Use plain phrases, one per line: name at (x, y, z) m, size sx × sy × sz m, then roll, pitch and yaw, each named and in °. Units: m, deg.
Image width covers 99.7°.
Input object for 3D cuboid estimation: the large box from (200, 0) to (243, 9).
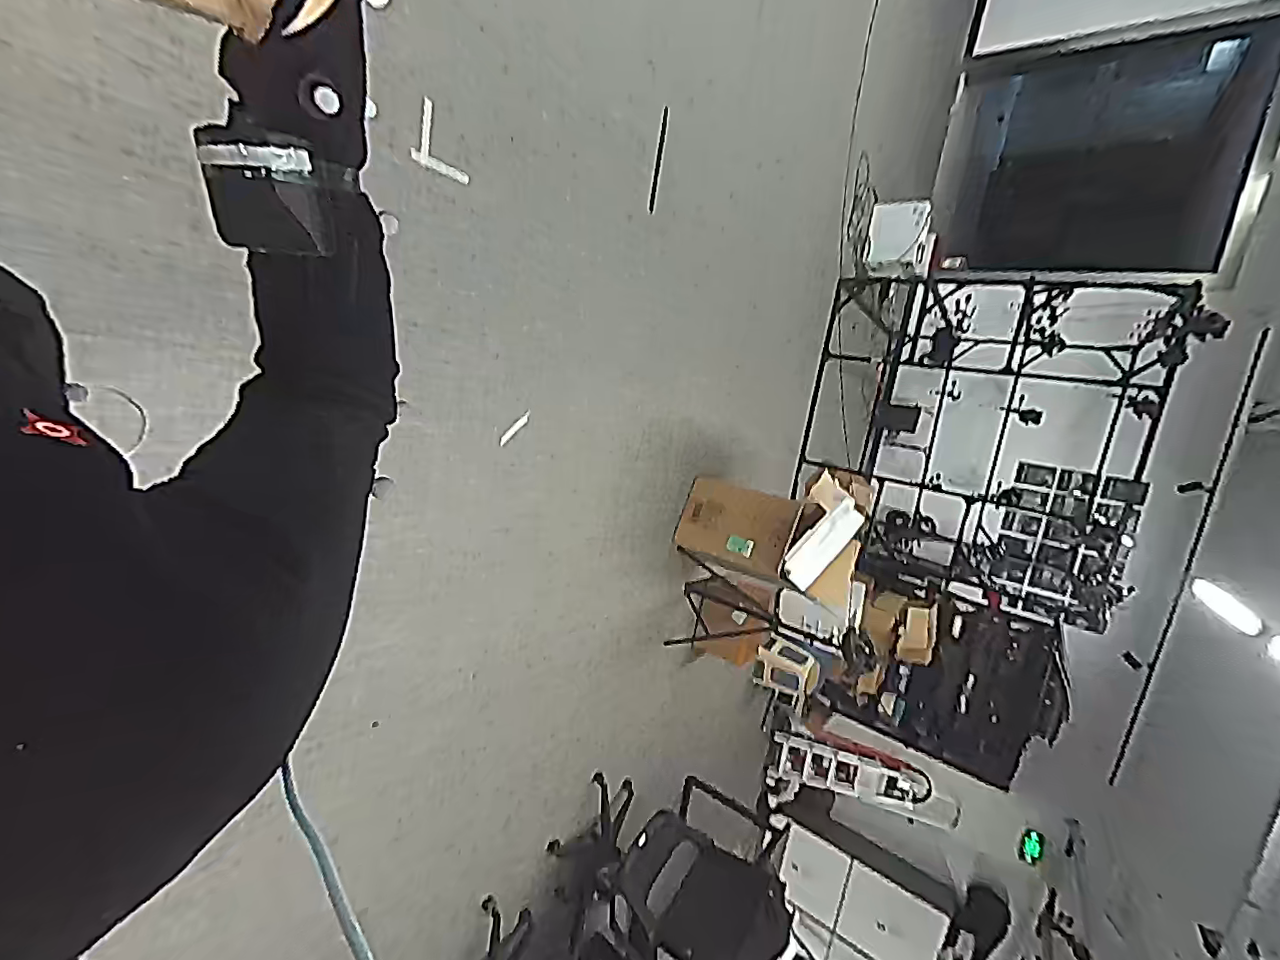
large box at (-0.382, -0.431, 0.143) m, size 0.408 × 0.320 × 0.320 m, roll -9°, pitch 129°, yaw -53°
